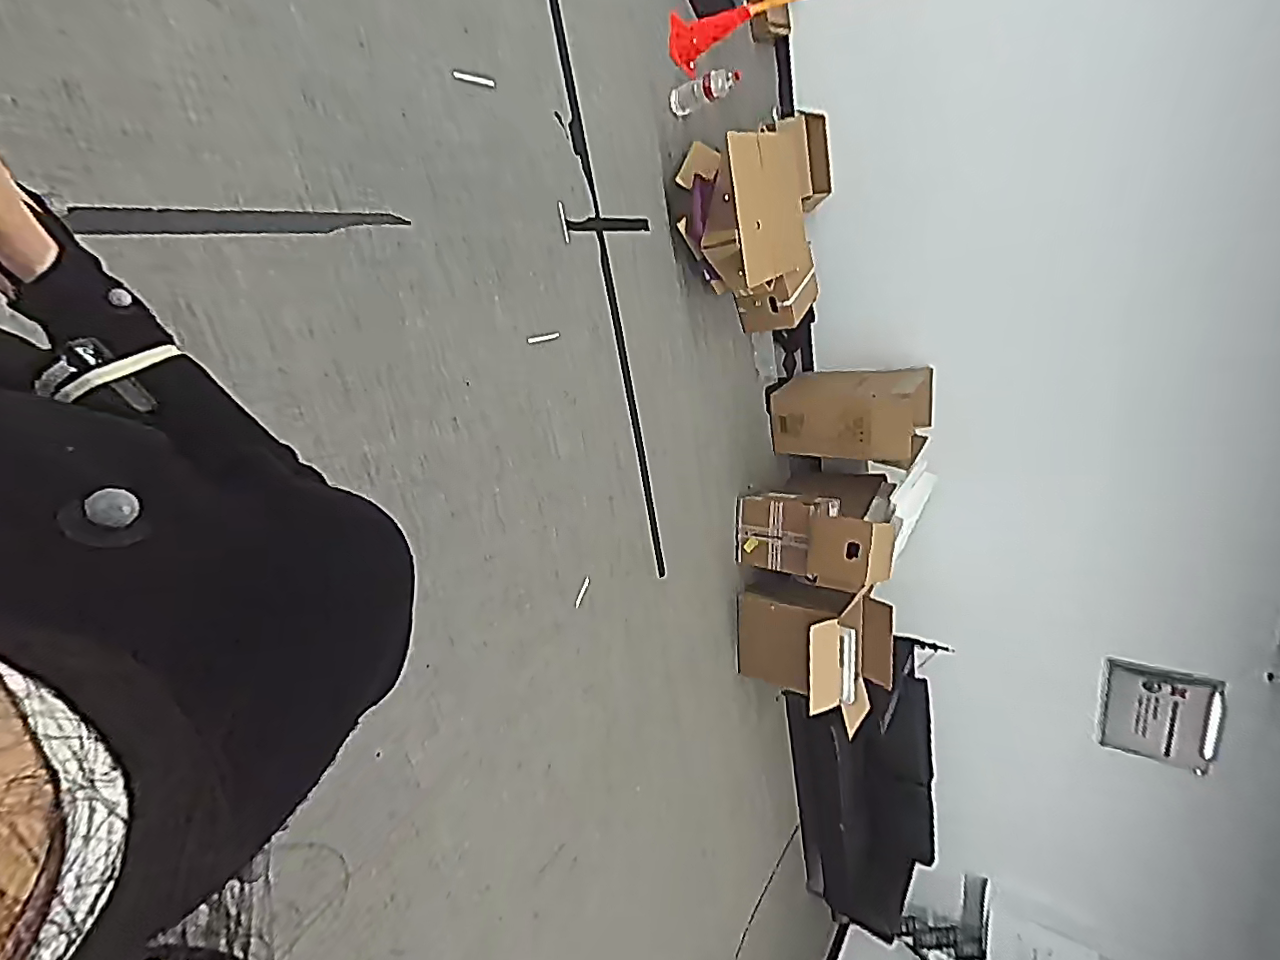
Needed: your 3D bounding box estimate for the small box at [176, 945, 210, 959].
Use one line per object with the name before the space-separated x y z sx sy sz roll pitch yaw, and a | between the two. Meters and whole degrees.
small box | -1.016 1.195 1.184 0.179 0.176 0.168 -32 117 -47
